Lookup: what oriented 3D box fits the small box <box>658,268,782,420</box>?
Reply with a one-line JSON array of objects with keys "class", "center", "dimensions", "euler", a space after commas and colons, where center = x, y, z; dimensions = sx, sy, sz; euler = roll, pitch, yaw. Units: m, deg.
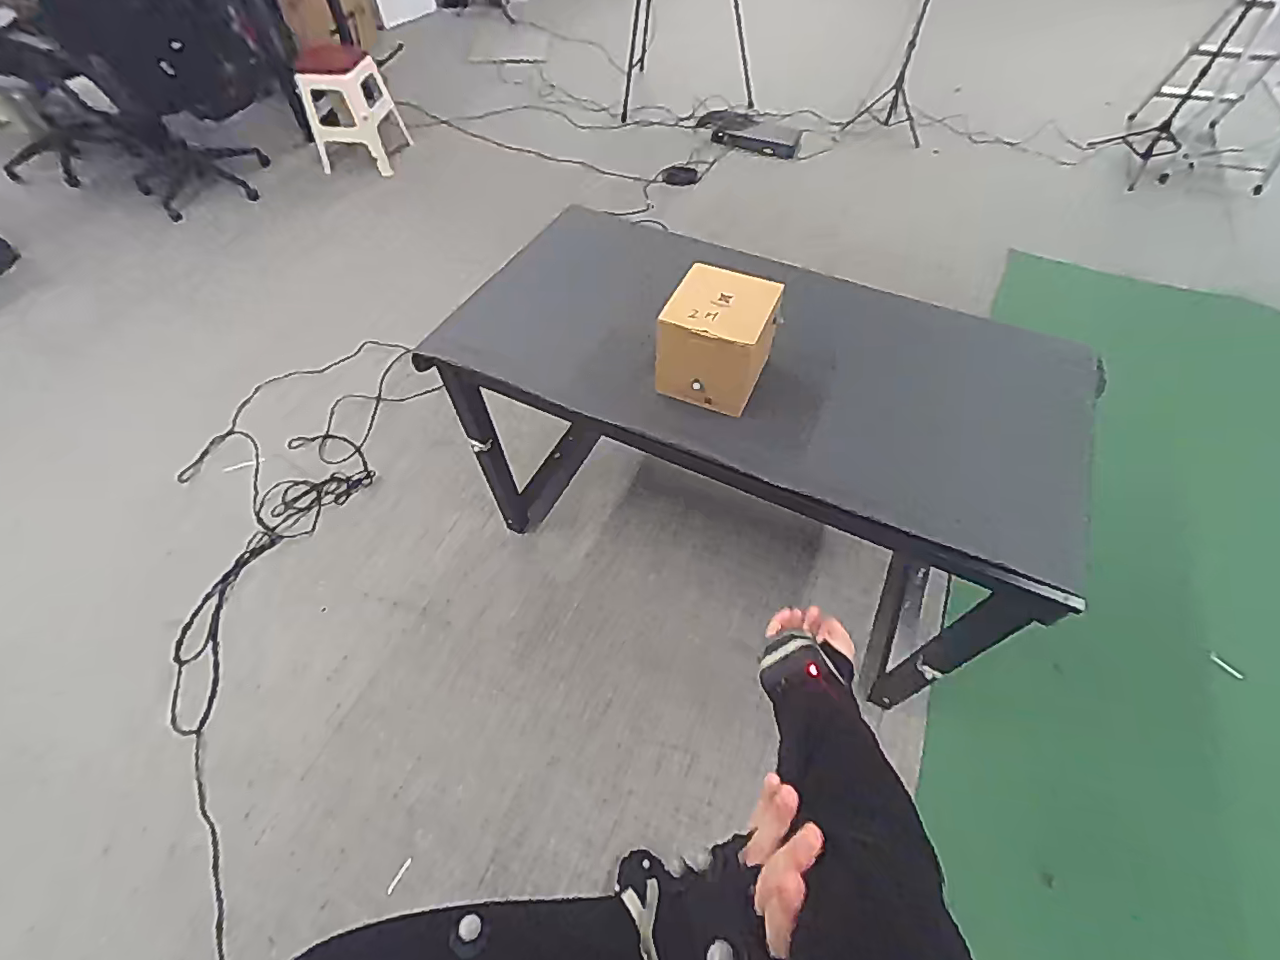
[{"class": "small box", "center": [0.135, -0.241, 0.966], "dimensions": [0.168, 0.176, 0.179], "euler": [20, 57, 14]}]
